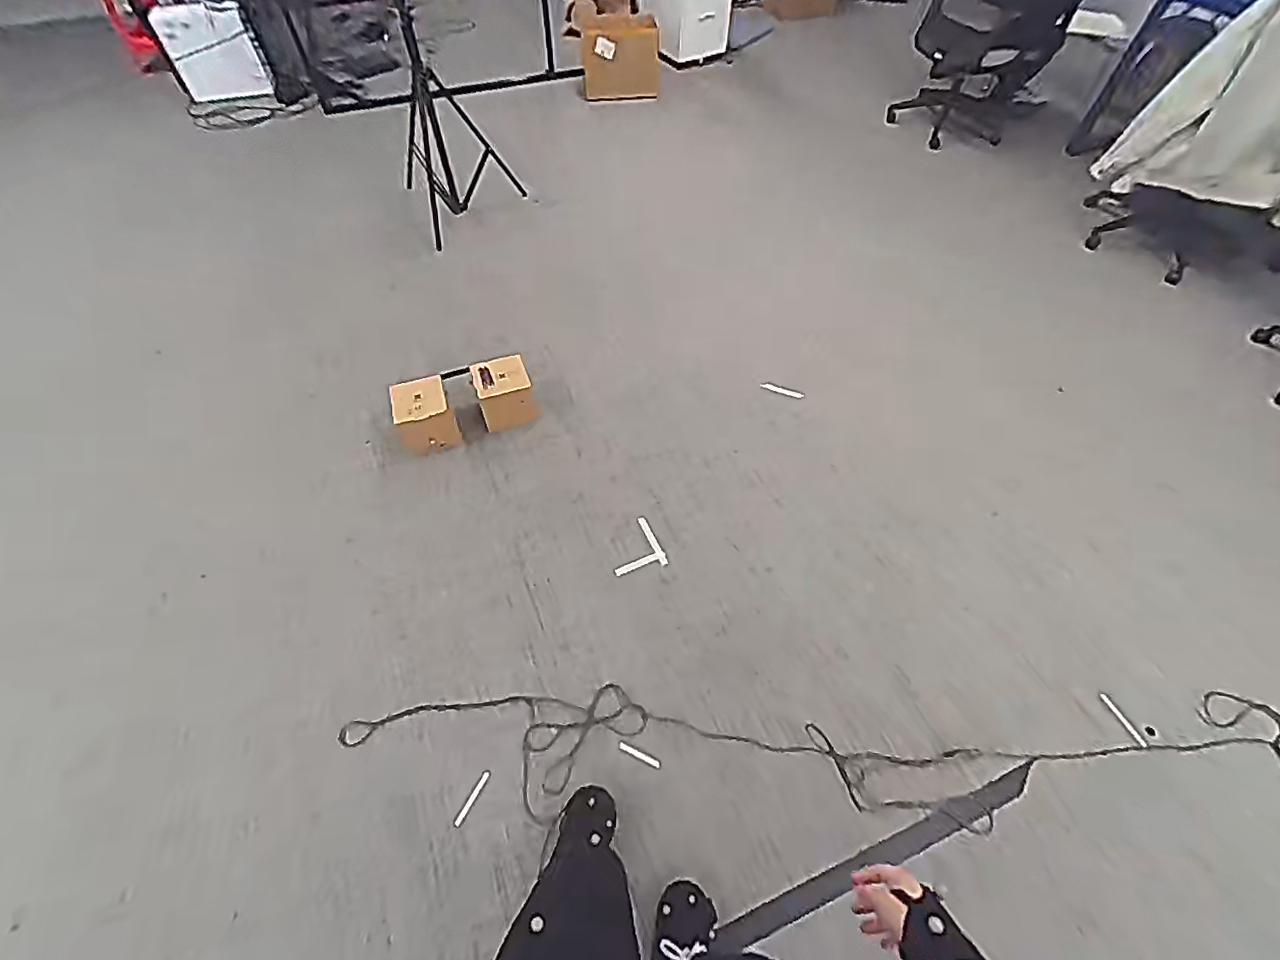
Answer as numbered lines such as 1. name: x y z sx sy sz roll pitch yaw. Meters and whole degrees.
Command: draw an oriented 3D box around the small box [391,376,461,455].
1. small box: -0.710 -0.212 1.799 0.168 0.176 0.179 -17 58 -11
